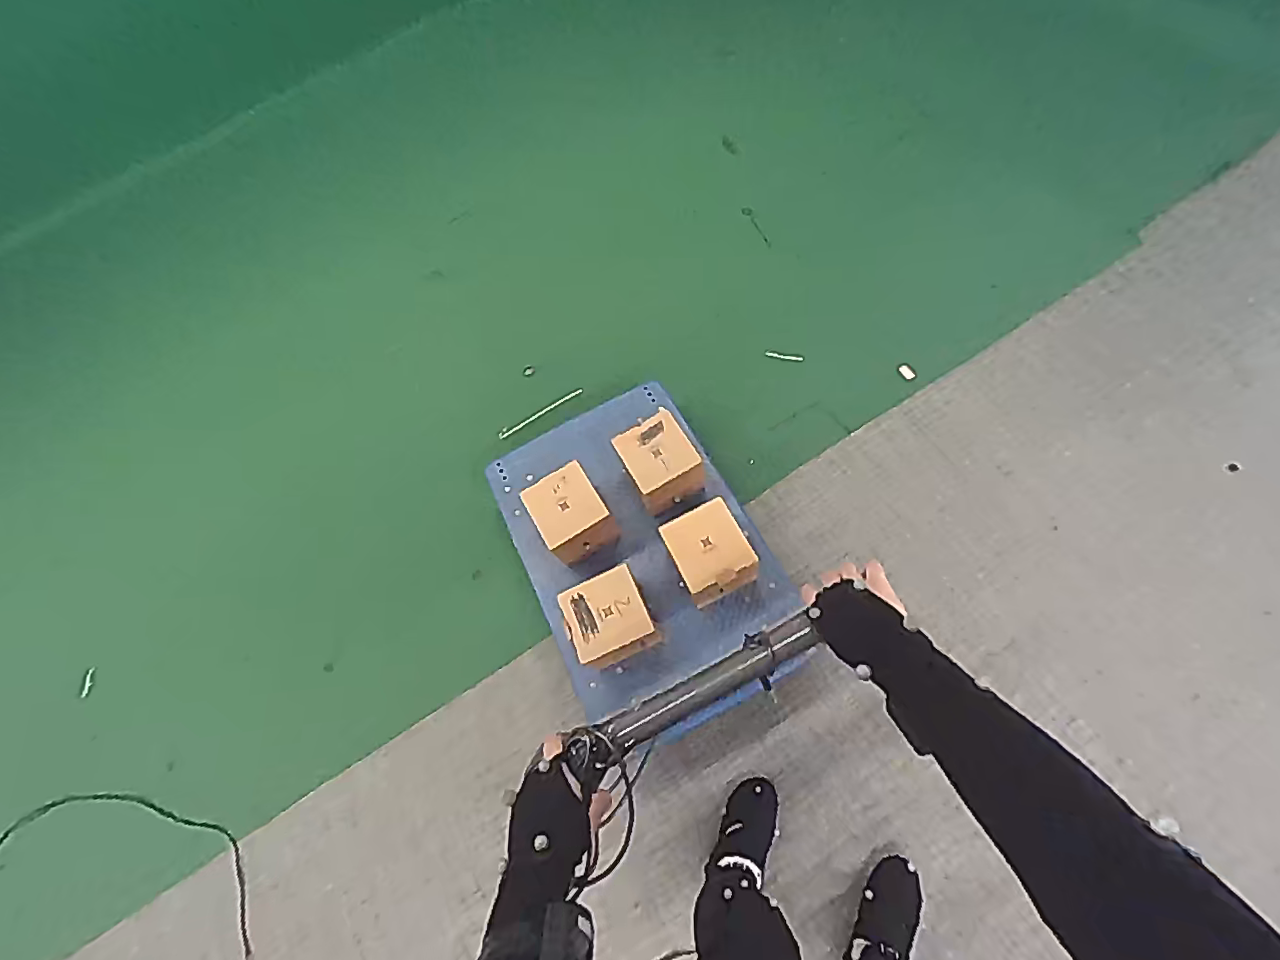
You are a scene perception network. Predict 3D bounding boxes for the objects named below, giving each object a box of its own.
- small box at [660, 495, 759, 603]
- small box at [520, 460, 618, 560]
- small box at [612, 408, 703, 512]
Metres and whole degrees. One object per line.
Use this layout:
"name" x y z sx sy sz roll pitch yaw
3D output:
"small box" 0.162 0.168 1.280 0.168 0.176 0.179 -27 67 -3
"small box" -0.172 0.085 1.367 0.168 0.176 0.179 -31 66 -6
"small box" 0.049 -0.046 1.387 0.168 0.176 0.179 -30 67 -4
